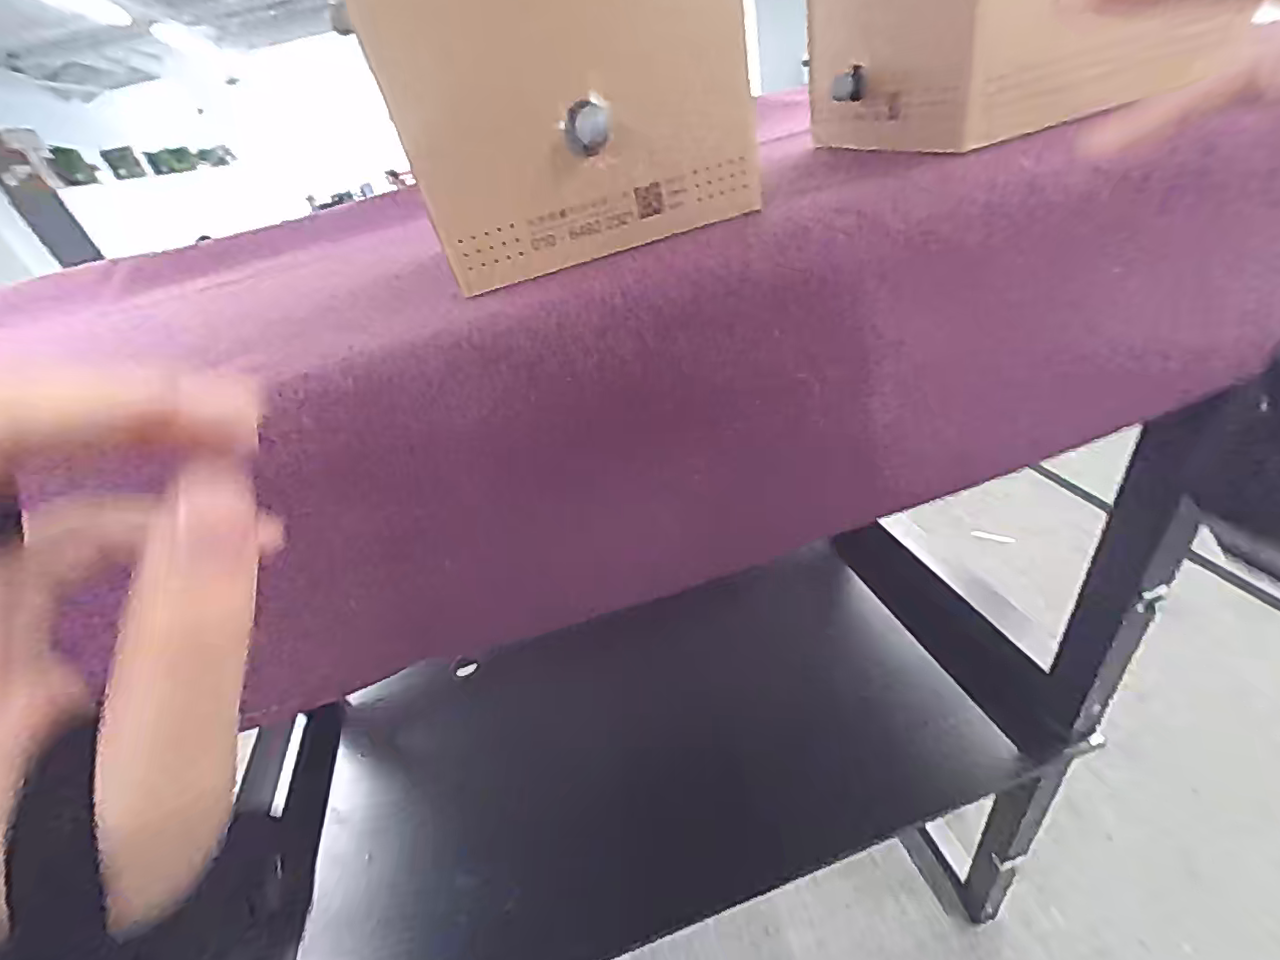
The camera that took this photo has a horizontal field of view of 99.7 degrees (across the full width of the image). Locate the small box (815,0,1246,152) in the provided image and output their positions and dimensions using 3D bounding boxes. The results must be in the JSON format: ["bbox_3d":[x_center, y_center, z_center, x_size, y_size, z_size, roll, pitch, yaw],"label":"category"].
[{"bbox_3d":[0.212,-0.306,0.308,0.179,0.176,0.168,-19,34,-4],"label":"small box"}]

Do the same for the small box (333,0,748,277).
[{"bbox_3d":[-0.057,-0.223,0.290,0.168,0.176,0.179,-20,35,-7],"label":"small box"}]
